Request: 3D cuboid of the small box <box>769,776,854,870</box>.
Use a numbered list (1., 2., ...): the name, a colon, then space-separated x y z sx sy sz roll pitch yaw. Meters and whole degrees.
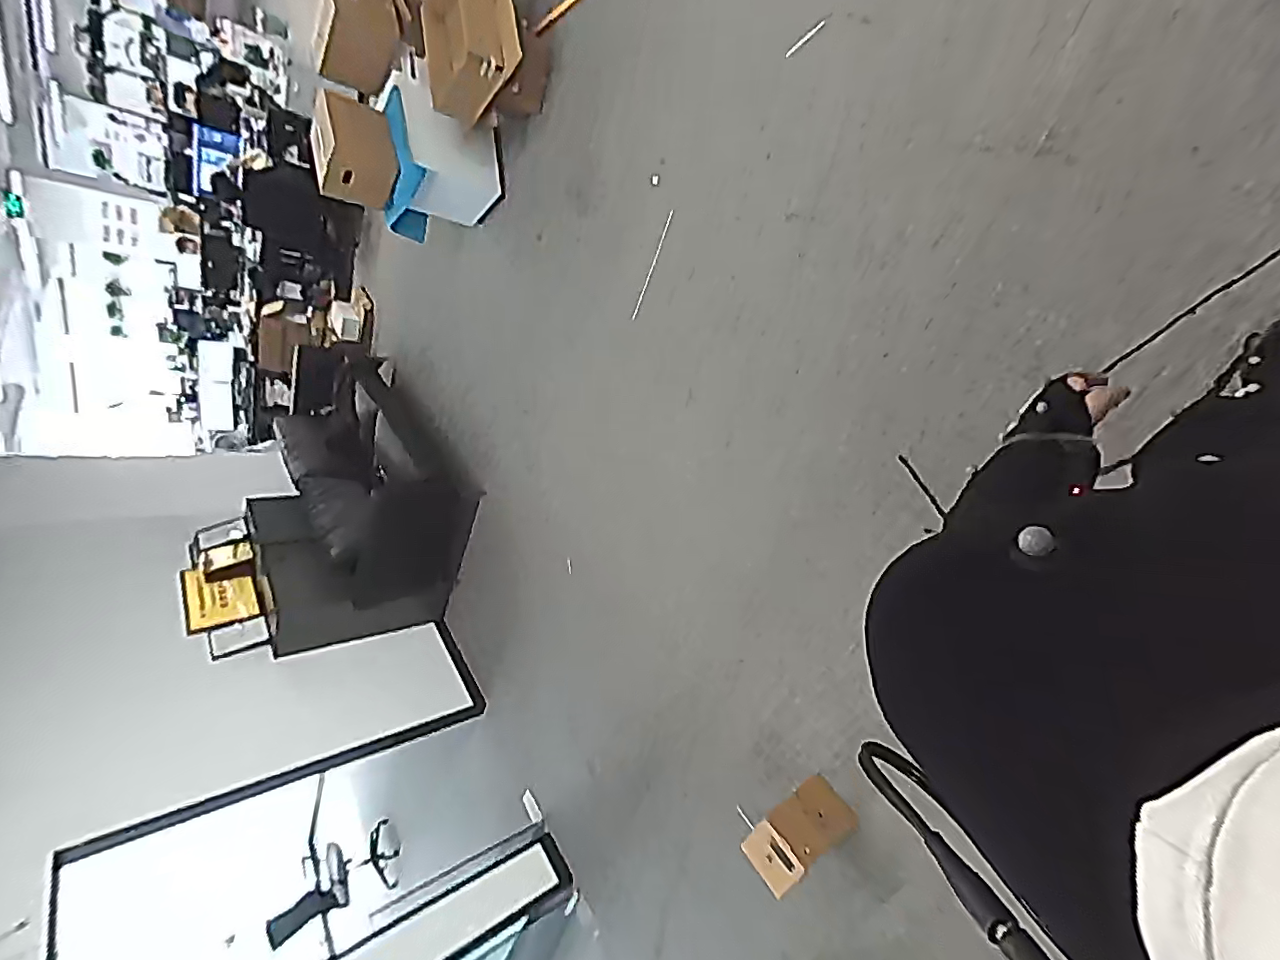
1. small box: 0.568 1.120 1.780 0.179 0.176 0.168 45 123 37
